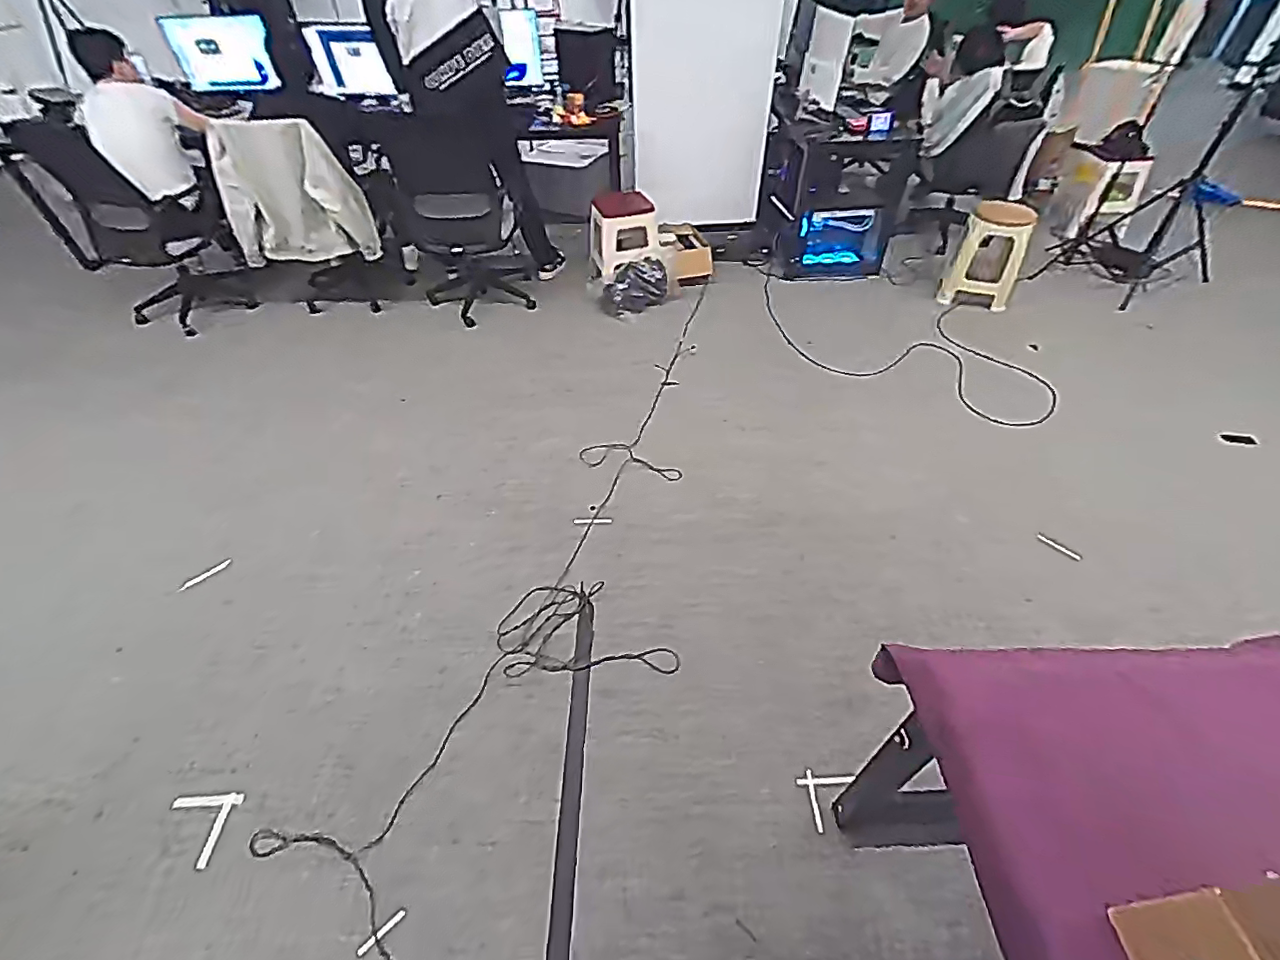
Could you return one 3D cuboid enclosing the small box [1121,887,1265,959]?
[{"bbox_3d":[0.604,0.491,0.496,0.179,0.176,0.168,1,46,0],"label":"small box"}]
